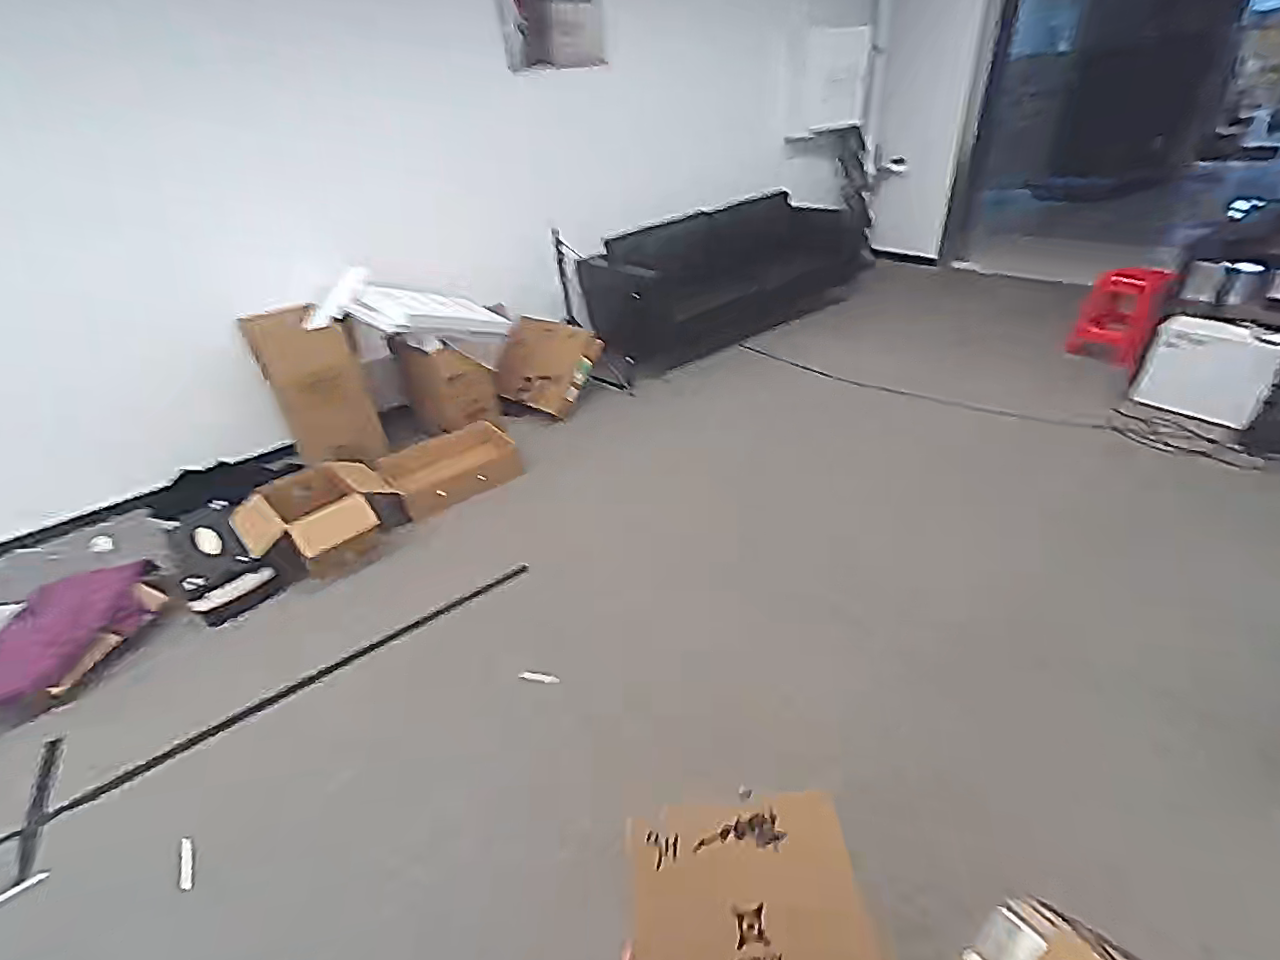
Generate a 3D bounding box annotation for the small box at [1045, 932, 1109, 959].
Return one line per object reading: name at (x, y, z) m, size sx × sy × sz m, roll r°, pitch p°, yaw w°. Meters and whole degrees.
small box at (0.528, 0.690, 0.622) m, size 0.179 × 0.176 × 0.168 m, roll -31°, pitch 39°, yaw -25°
